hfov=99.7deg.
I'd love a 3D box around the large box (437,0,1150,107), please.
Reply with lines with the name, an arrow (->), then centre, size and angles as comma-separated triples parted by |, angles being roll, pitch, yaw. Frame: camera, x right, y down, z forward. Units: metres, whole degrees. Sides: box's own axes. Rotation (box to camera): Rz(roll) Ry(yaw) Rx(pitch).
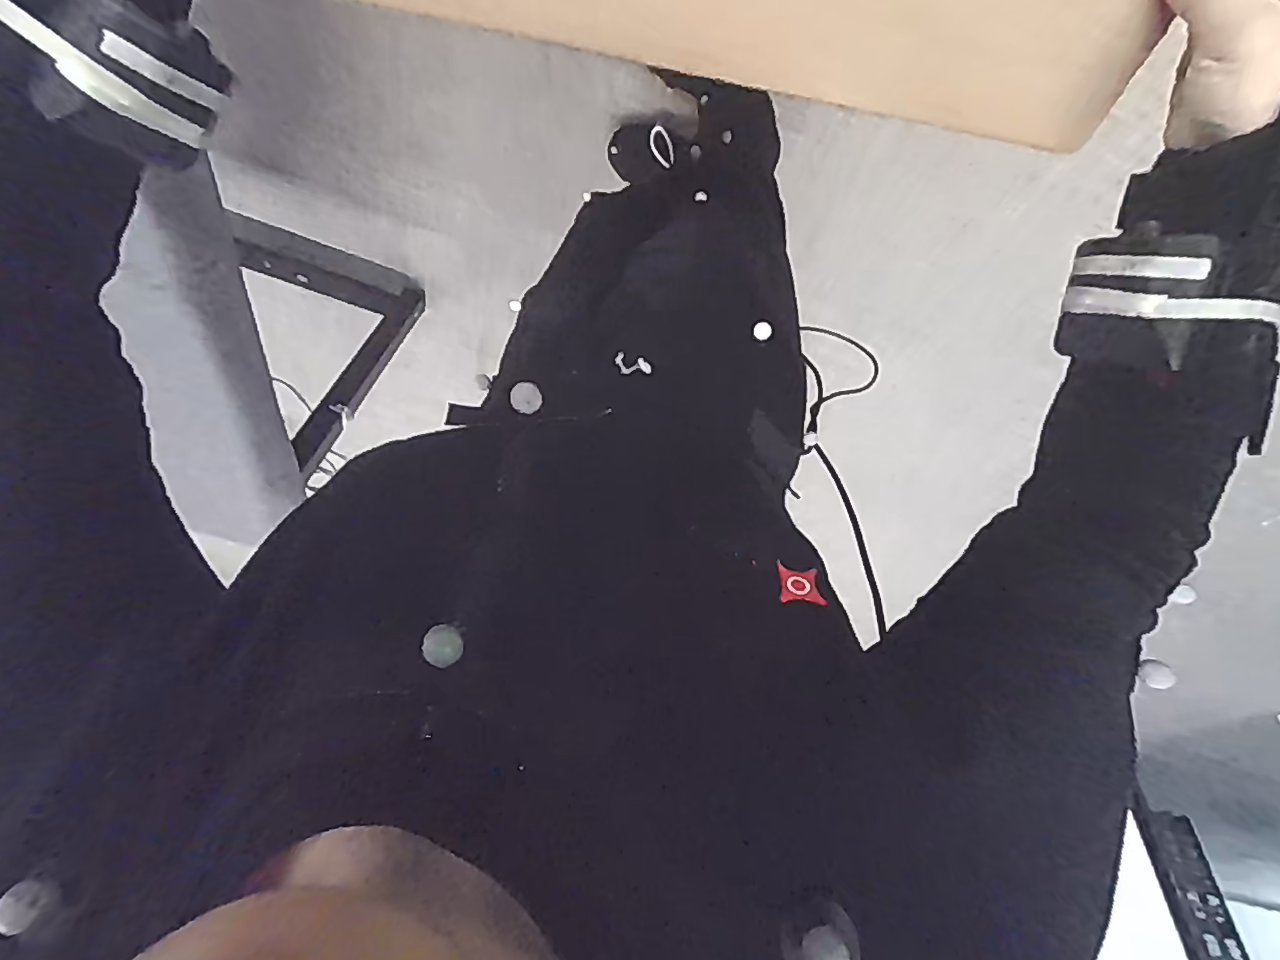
large box -> 0.075, -0.439, 0.275 | 0.408, 0.320, 0.320 | 8, 138, -4
